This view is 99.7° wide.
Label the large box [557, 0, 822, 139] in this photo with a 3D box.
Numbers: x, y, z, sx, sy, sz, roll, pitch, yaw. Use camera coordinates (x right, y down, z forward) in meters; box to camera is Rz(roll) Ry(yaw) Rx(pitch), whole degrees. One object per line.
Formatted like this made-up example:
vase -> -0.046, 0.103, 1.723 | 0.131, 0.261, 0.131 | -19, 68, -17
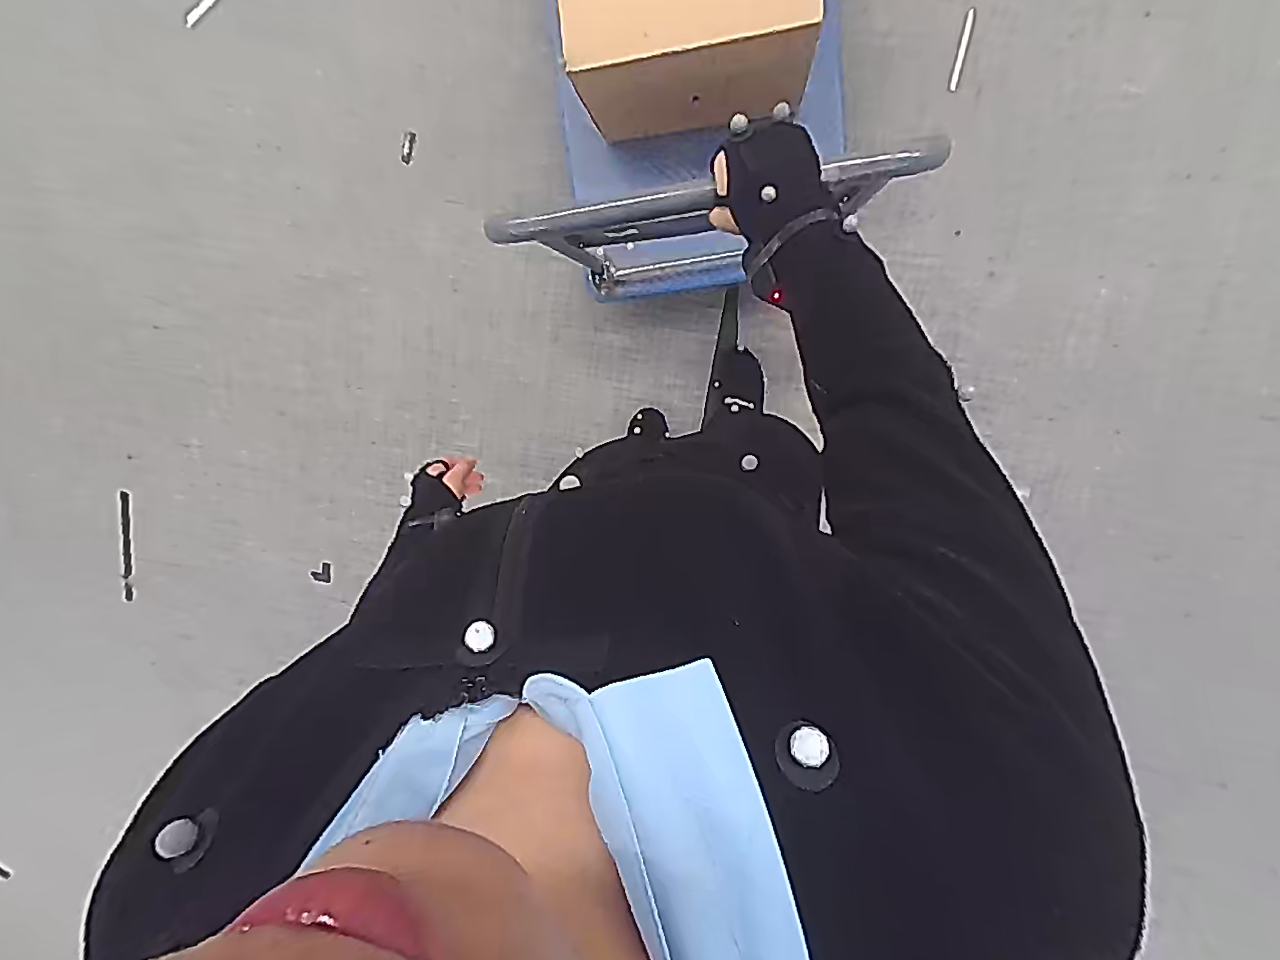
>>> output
large box -> 0.085, -0.853, 0.944 | 0.408, 0.320, 0.320 | -3, 101, 11
